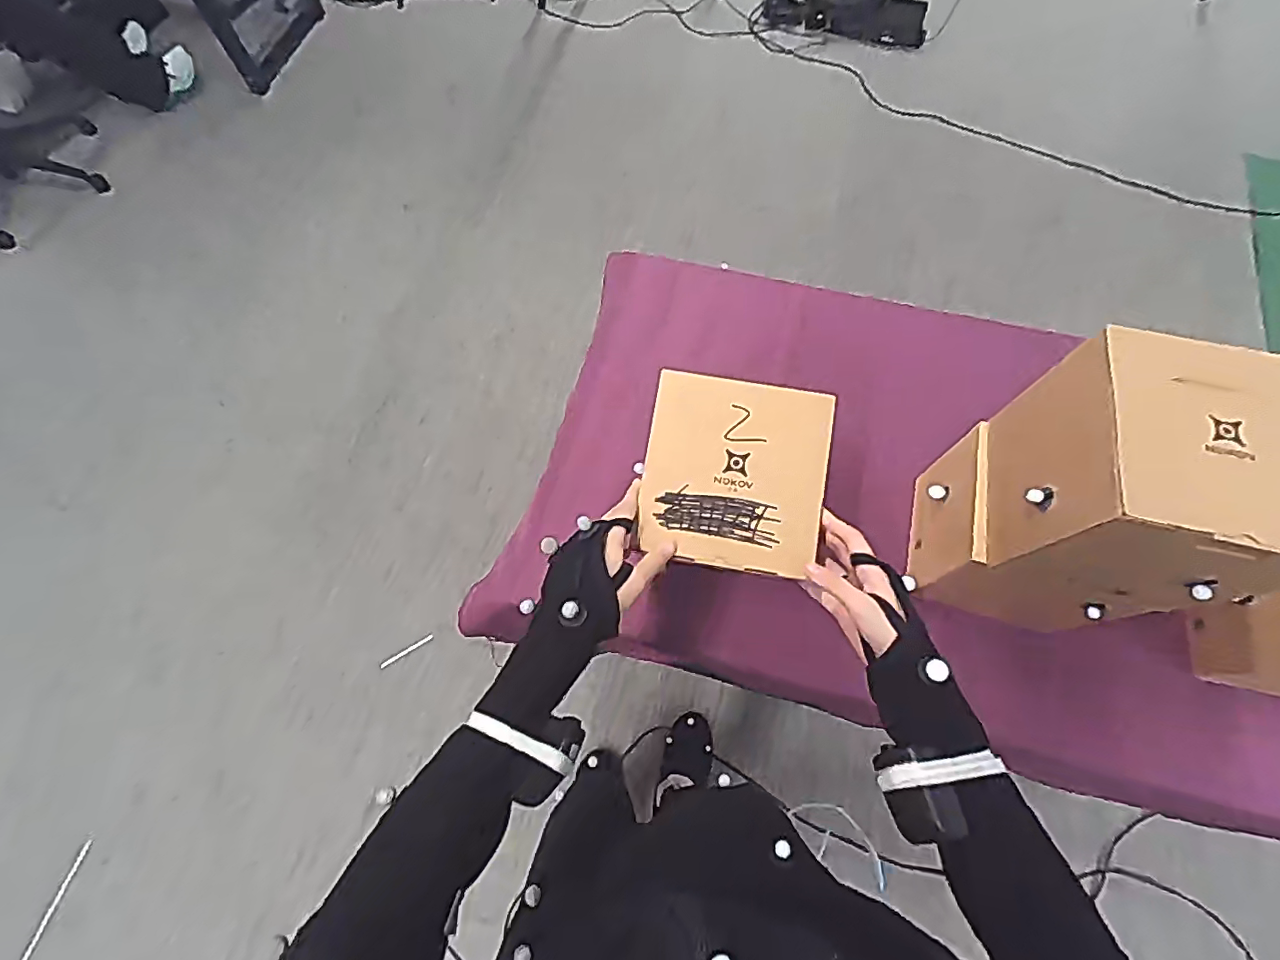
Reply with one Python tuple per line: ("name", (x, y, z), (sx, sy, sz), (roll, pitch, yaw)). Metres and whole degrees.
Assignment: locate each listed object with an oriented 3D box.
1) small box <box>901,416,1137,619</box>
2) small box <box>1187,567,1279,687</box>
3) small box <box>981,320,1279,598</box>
("small box", (0.431, 0.053, 0.631), (0.179, 0.176, 0.168), (16, 68, 6))
("small box", (0.745, 0.135, 0.582), (0.179, 0.176, 0.168), (11, 68, 8))
("small box", (0.433, -0.007, 0.481), (0.168, 0.176, 0.179), (13, 67, 6))
